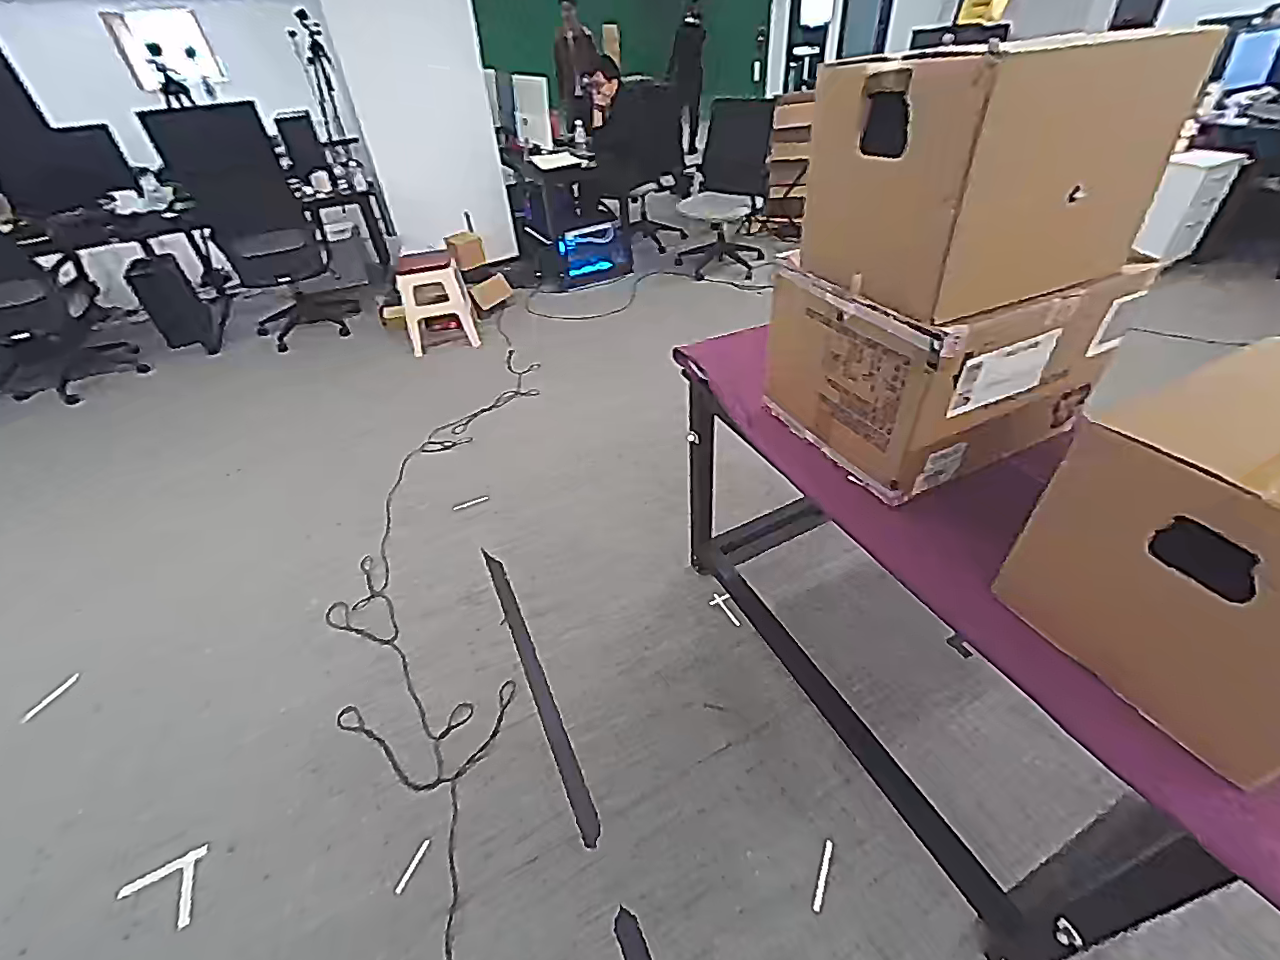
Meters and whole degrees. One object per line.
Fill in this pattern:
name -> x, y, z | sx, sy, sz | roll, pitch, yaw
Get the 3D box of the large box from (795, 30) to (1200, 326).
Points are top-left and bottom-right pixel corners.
large box -> 0.507, -0.477, 0.848 | 0.408, 0.320, 0.320 | -20, 38, -16
